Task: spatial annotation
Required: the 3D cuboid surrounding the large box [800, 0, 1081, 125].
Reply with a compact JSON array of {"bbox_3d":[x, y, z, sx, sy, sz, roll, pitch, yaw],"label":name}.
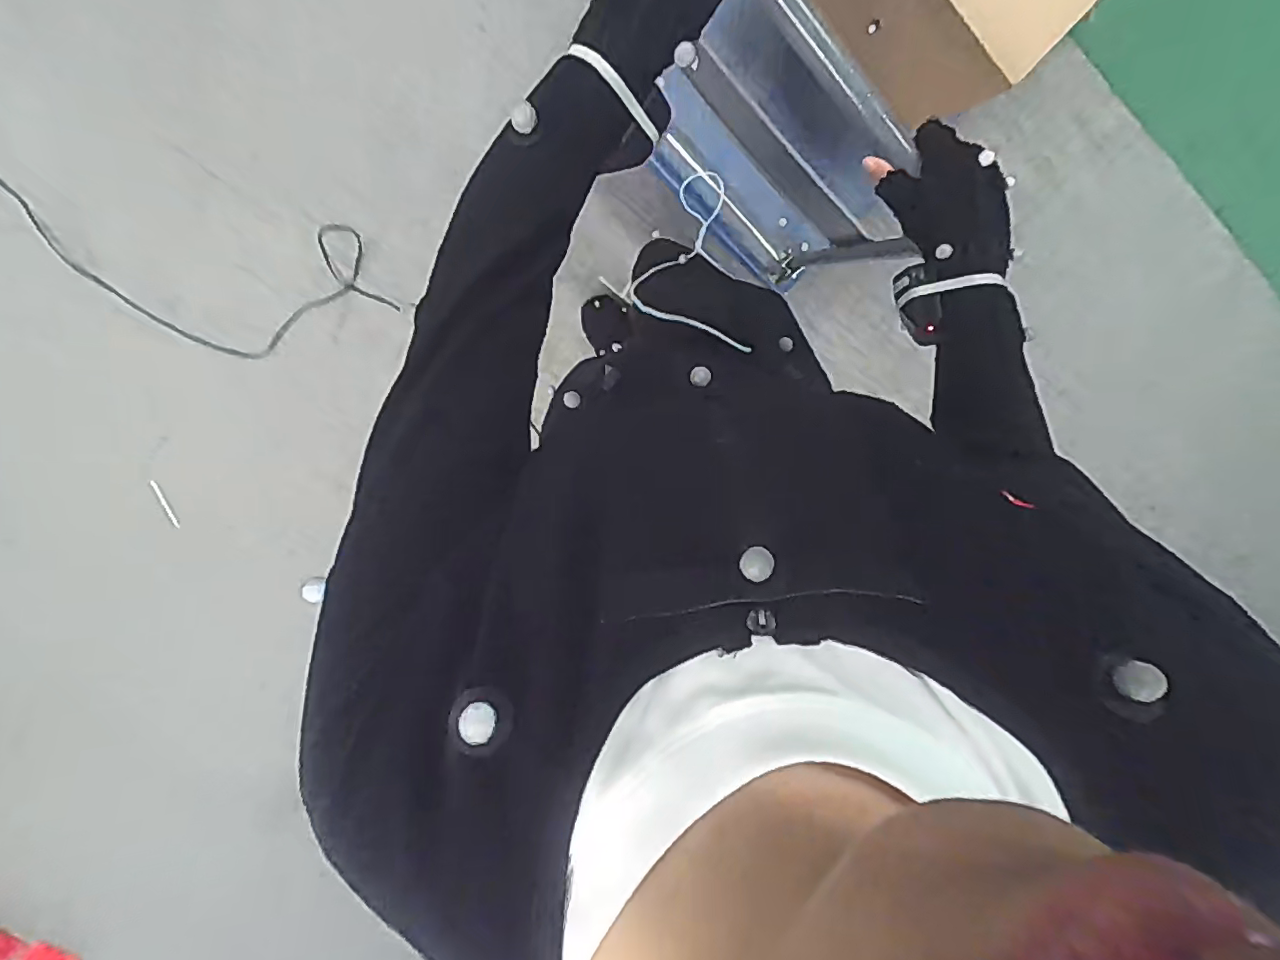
[{"bbox_3d":[0.483,-0.861,0.841,0.408,0.320,0.320,38,106,-14],"label":"large box"}]
